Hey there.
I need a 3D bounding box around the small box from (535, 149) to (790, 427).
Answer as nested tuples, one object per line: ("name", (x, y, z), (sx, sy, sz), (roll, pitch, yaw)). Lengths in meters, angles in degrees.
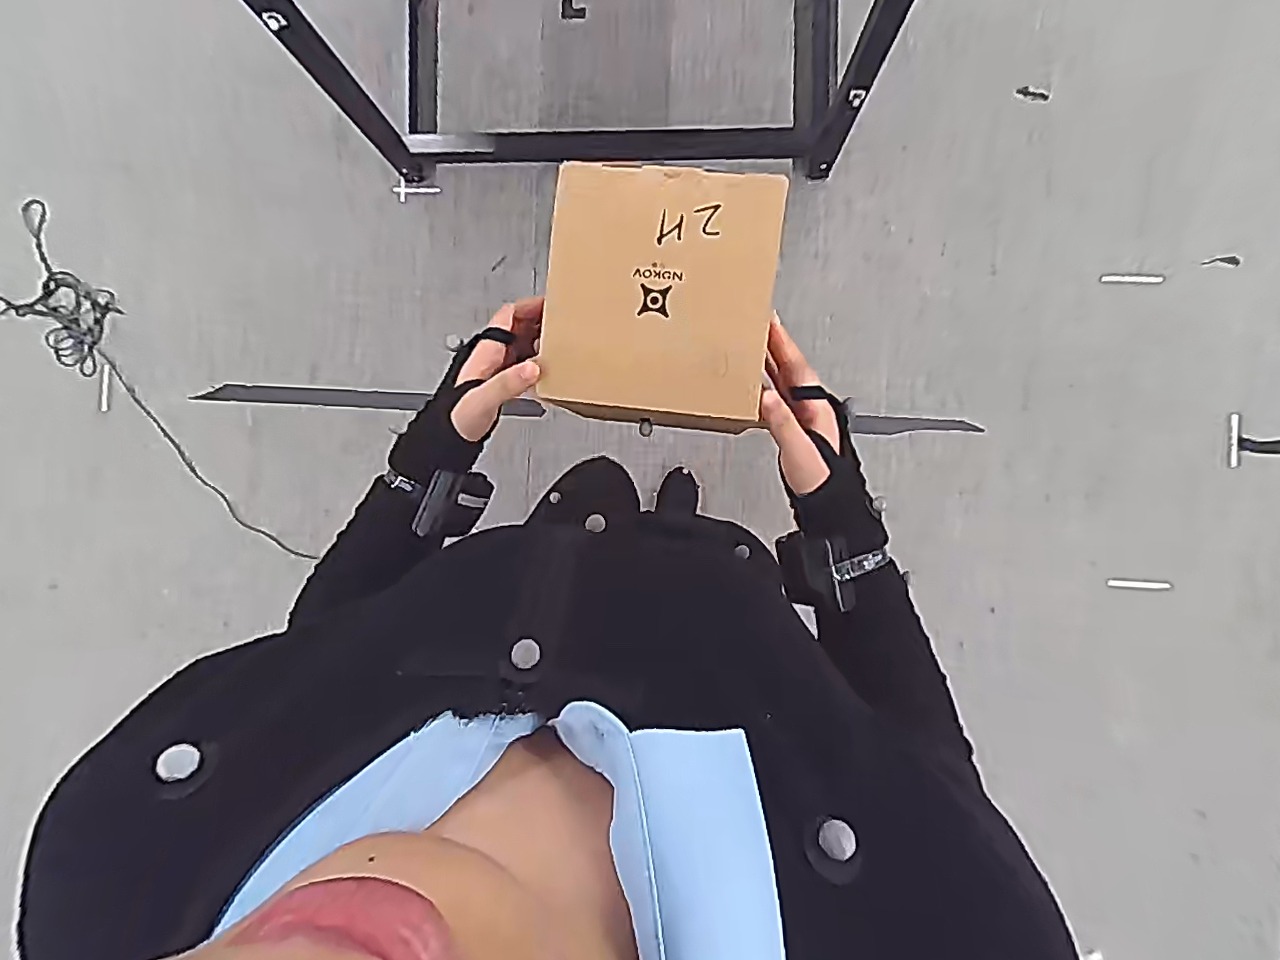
("small box", (0.023, -0.143, 0.460), (0.168, 0.176, 0.179), (7, 91, 6))
